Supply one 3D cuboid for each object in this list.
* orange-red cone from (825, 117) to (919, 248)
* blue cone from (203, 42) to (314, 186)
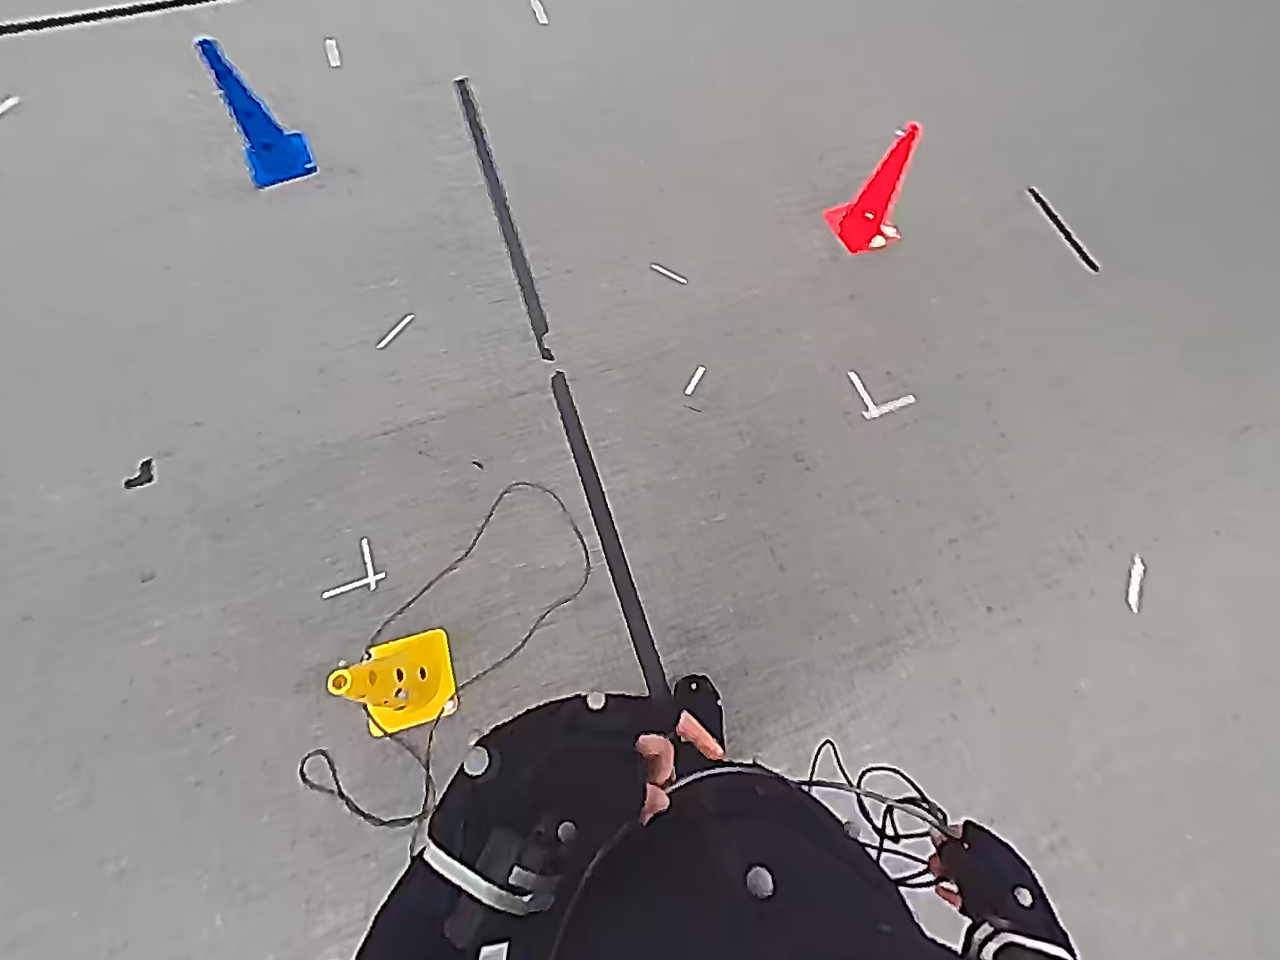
[{"bbox_3d":[0.750,-0.933,1.663,0.198,0.360,0.199,-22,71,-11],"label":"orange-red cone"},{"bbox_3d":[-1.198,-1.125,1.656,0.192,0.380,0.193,-23,72,-10],"label":"blue cone"}]
